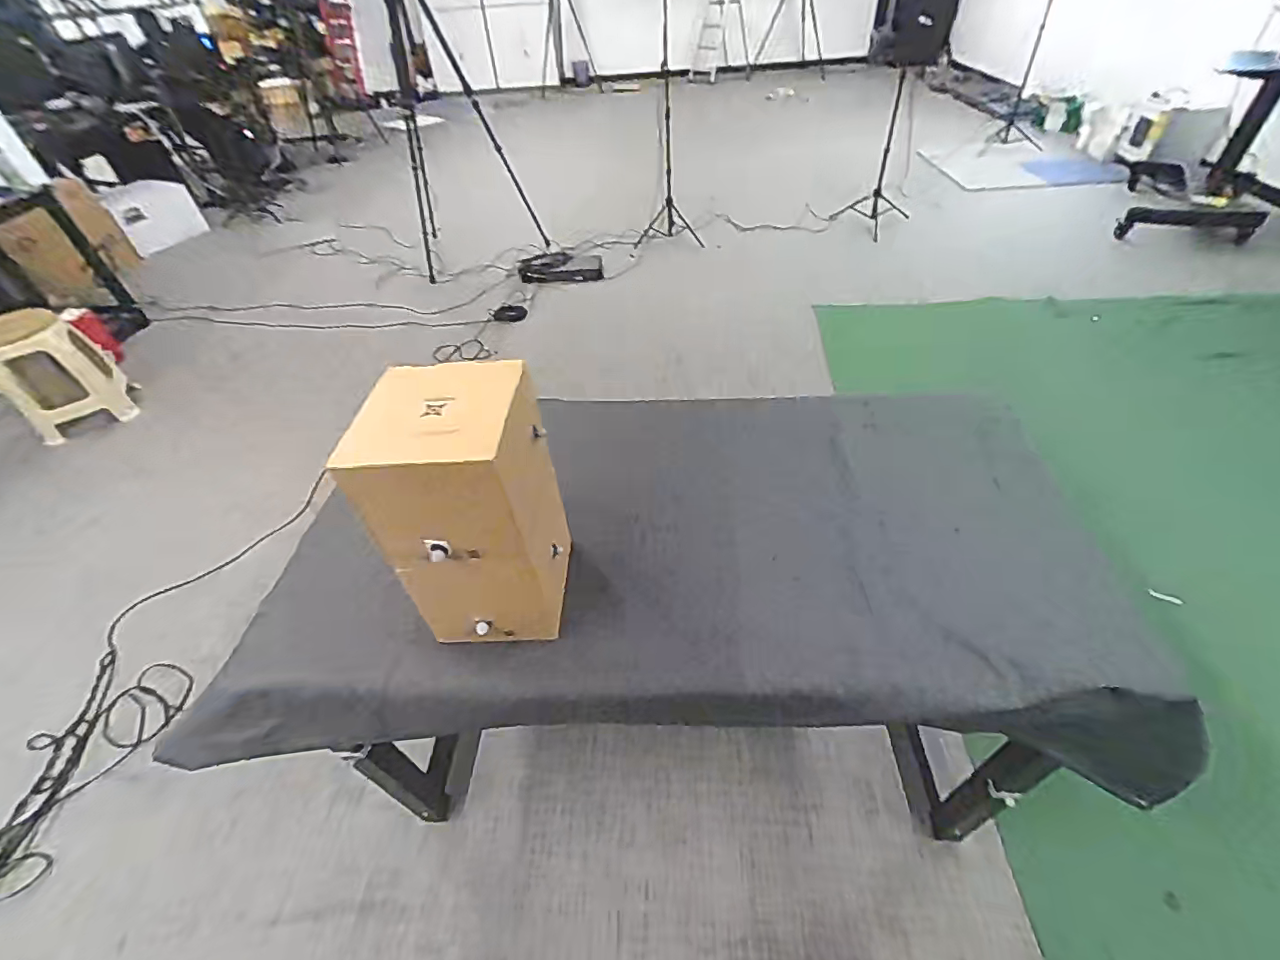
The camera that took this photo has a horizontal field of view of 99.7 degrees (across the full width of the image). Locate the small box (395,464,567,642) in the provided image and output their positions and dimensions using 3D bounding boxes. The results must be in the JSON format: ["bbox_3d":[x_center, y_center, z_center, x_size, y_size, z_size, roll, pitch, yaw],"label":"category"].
[{"bbox_3d":[-0.196,0.098,0.729,0.168,0.176,0.179,-3,45,3],"label":"small box"}]

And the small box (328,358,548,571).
[{"bbox_3d":[-0.206,-0.017,0.615,0.168,0.176,0.179,-4,45,3],"label":"small box"}]
